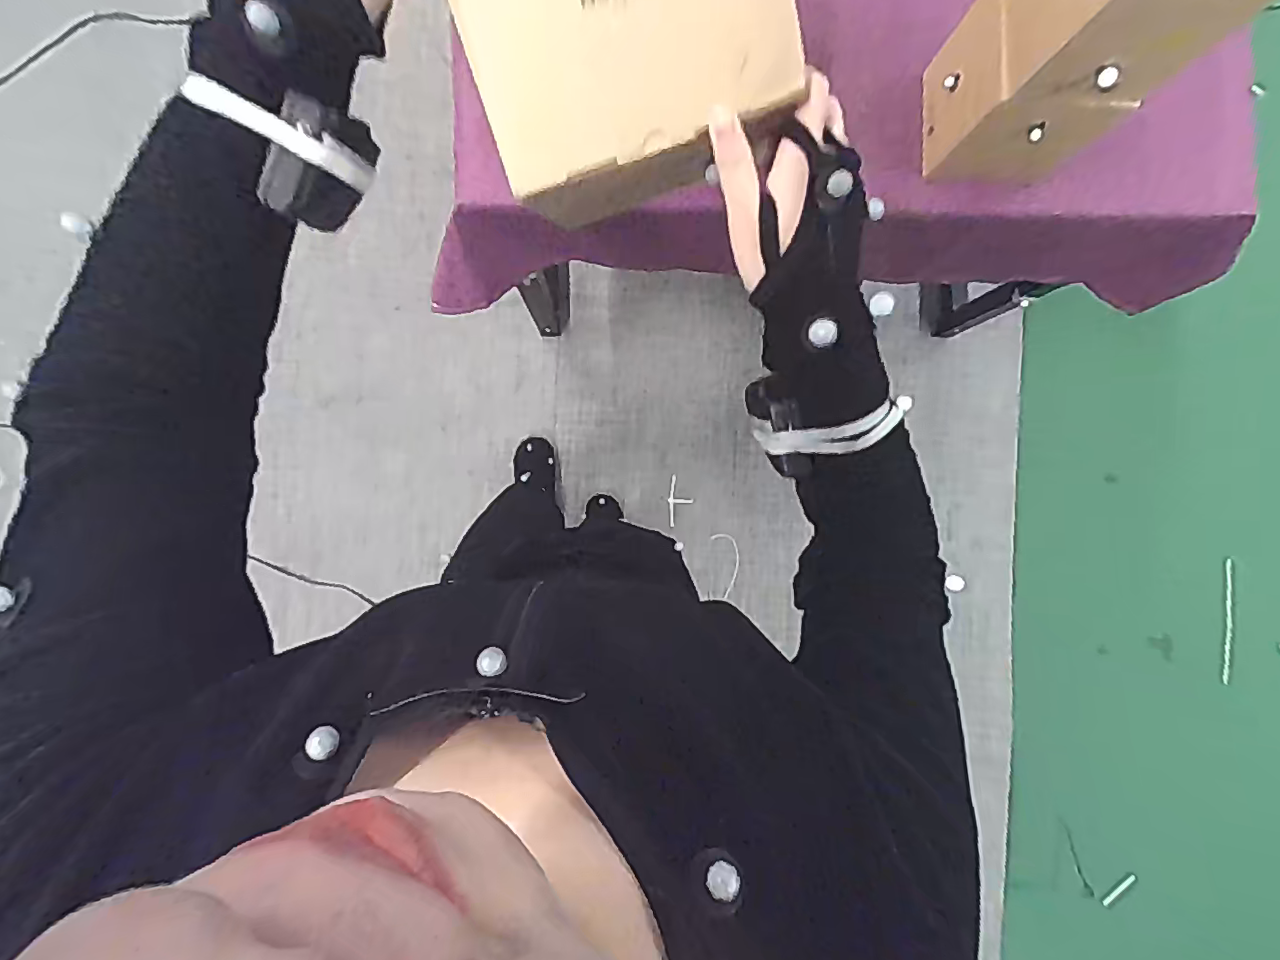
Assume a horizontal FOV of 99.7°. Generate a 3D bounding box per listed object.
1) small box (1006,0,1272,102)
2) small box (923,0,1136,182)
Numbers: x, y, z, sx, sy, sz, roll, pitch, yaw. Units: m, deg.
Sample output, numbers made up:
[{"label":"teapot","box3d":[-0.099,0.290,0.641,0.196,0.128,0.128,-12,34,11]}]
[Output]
[{"label":"small box","box3d":[0.515,-0.539,0.562,0.168,0.176,0.179,-2,90,-3]},{"label":"small box","box3d":[0.507,-0.528,0.727,0.179,0.176,0.168,1,90,-3]}]
